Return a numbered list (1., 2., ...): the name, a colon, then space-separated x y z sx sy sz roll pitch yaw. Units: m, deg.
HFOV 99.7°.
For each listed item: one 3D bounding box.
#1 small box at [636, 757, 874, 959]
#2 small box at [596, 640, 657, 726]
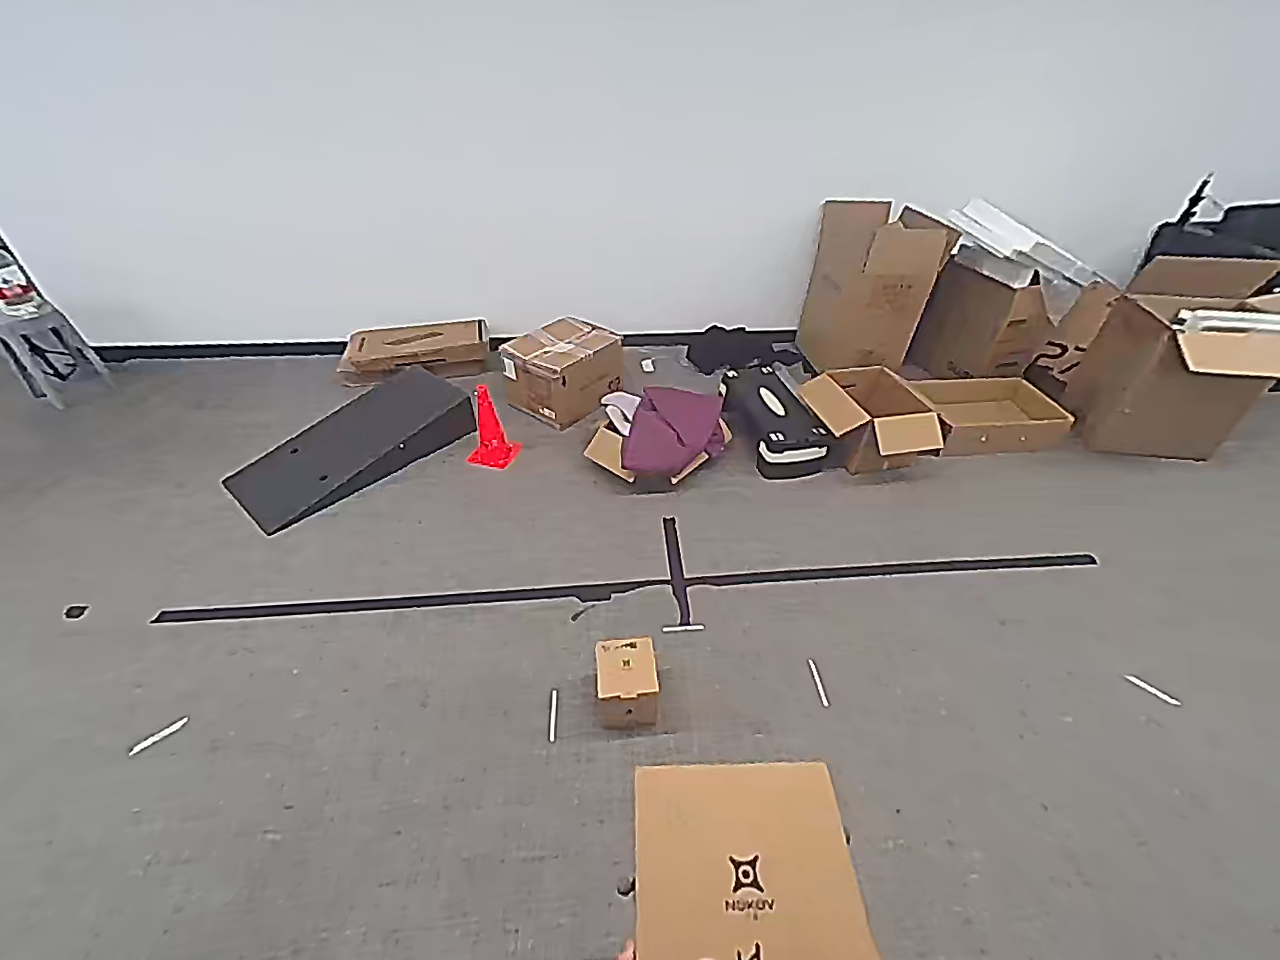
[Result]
1. small box: 0.080 0.359 0.458 0.168 0.176 0.179 -2 43 0
2. small box: -0.039 0.585 1.550 0.168 0.176 0.179 -3 40 -4
